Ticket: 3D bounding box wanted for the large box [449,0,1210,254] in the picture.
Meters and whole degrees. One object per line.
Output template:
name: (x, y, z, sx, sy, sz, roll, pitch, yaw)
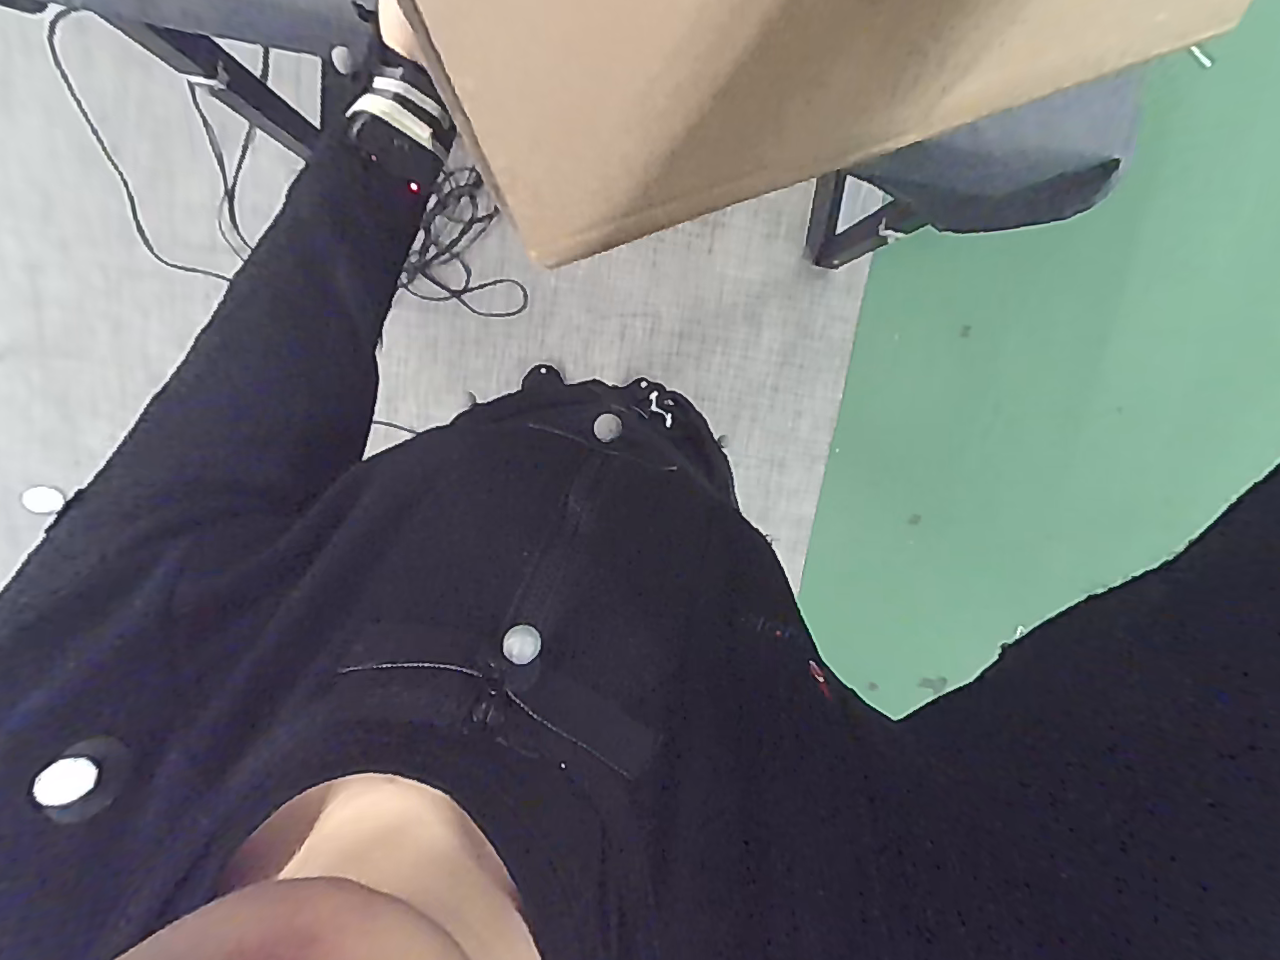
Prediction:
large box: (0.019, -0.376, 0.195, 0.320, 0.320, 0.408, -20, 63, 2)
